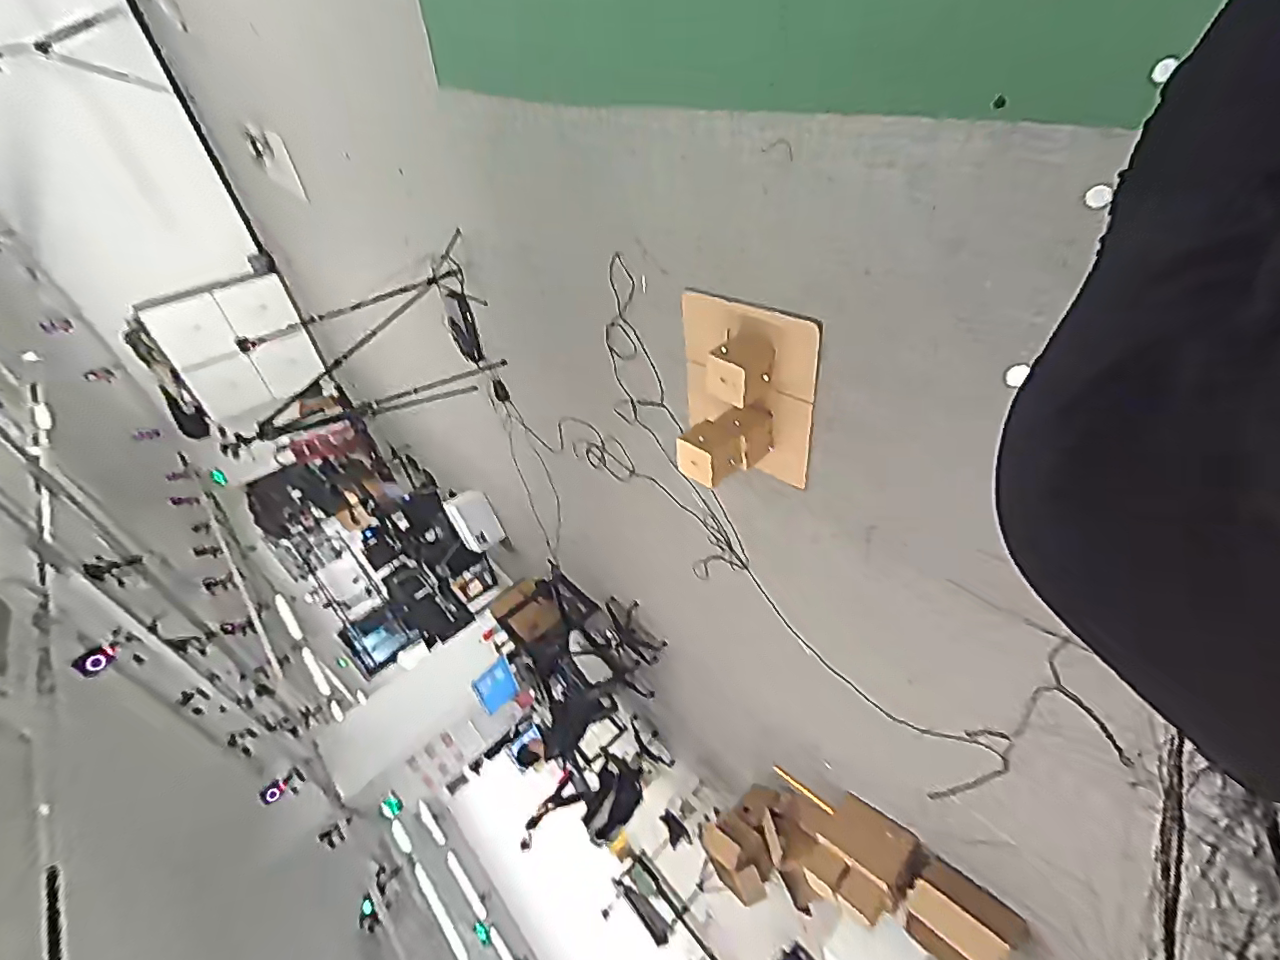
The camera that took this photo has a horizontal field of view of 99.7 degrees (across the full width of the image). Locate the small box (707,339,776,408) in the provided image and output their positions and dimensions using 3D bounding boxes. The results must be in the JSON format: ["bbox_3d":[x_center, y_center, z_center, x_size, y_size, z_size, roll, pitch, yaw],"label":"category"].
[{"bbox_3d":[0.363,-0.391,1.951,0.179,0.176,0.168,33,145,34],"label":"small box"}]

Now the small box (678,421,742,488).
[{"bbox_3d":[0.265,-0.103,2.051,0.179,0.176,0.168,31,143,38],"label":"small box"}]

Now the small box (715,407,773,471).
[{"bbox_3d":[0.403,-0.168,2.114,0.179,0.176,0.168,29,142,40],"label":"small box"}]
